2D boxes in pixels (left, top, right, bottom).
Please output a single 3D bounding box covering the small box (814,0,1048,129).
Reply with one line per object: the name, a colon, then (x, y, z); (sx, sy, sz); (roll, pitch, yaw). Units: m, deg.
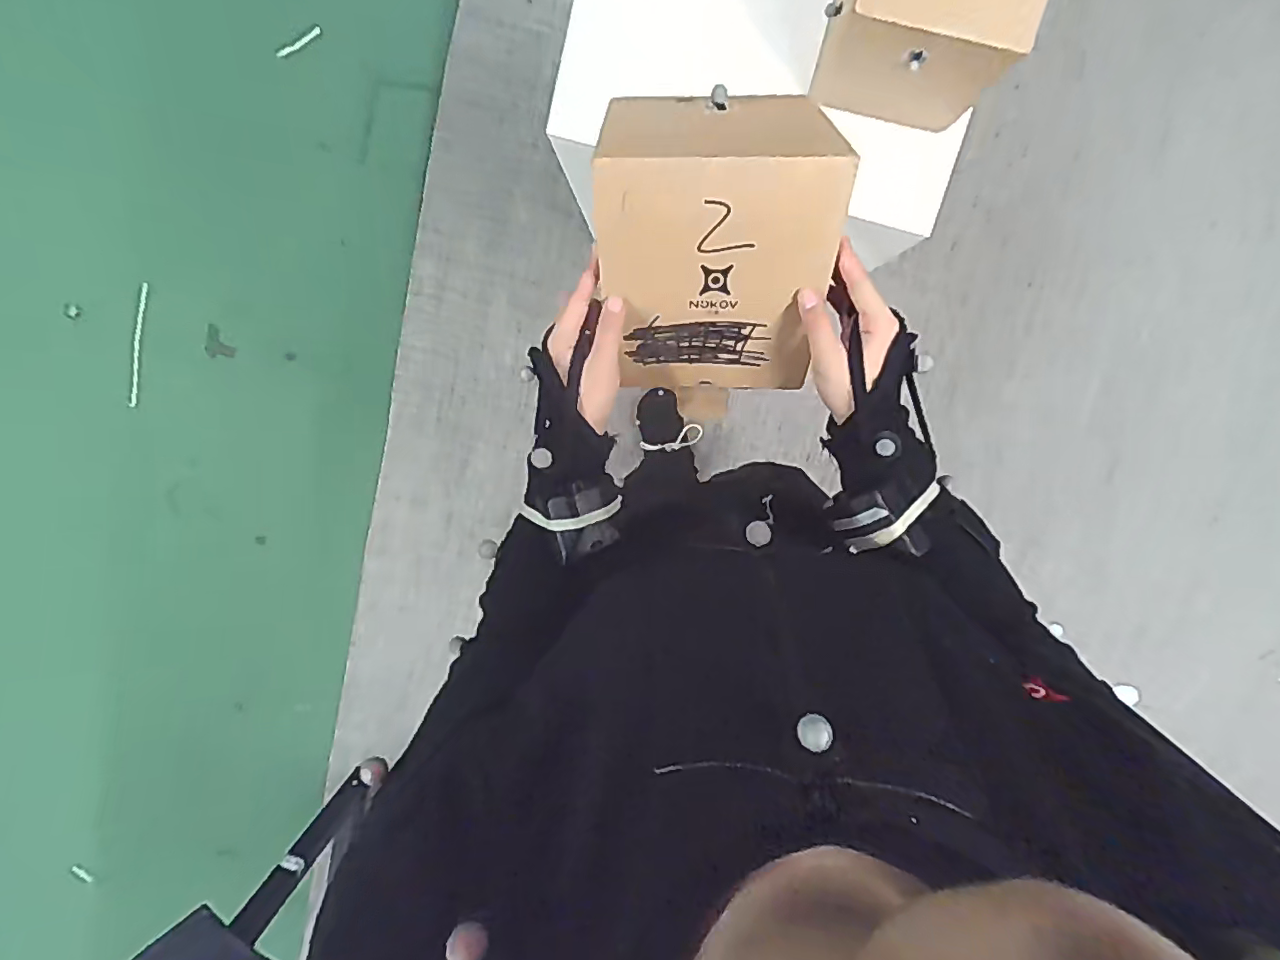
small box: (0.305, -0.508, 0.572); (0.179, 0.176, 0.168); (13, 101, 0)
